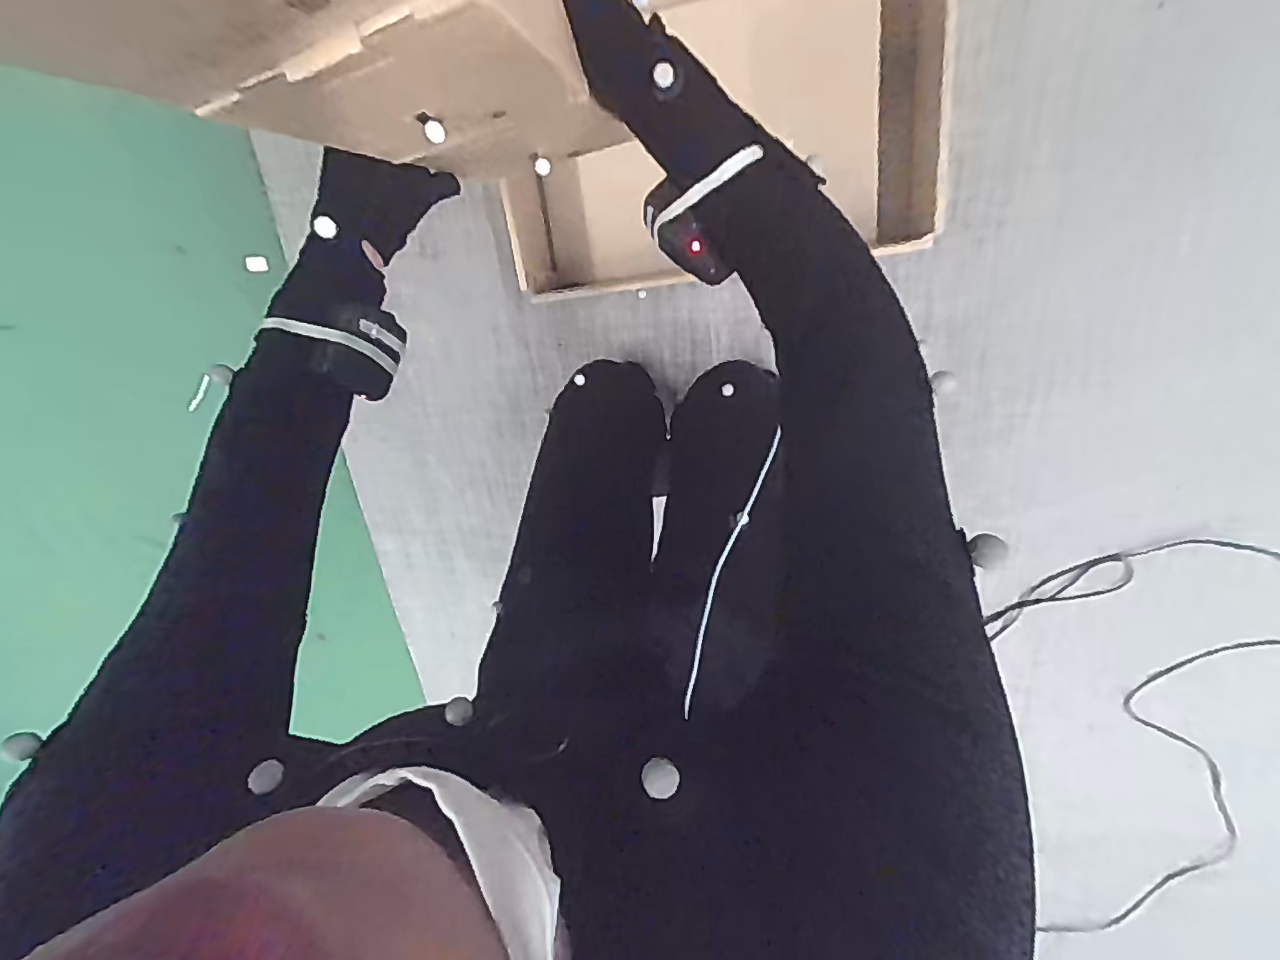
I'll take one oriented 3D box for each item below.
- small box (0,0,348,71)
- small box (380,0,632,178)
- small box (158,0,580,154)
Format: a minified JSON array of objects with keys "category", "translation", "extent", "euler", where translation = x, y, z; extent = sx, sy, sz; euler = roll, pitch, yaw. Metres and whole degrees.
[{"category":"small box","translation":[-0.182,-0.237,0.134],"extent":[0.168,0.176,0.179],"euler":[-9,111,15]},{"category":"small box","translation":[-0.114,-0.361,0.427],"extent":[0.168,0.176,0.179],"euler":[-6,112,15]},{"category":"small box","translation":[-0.146,-0.297,0.281],"extent":[0.168,0.176,0.179],"euler":[-8,112,15]}]
